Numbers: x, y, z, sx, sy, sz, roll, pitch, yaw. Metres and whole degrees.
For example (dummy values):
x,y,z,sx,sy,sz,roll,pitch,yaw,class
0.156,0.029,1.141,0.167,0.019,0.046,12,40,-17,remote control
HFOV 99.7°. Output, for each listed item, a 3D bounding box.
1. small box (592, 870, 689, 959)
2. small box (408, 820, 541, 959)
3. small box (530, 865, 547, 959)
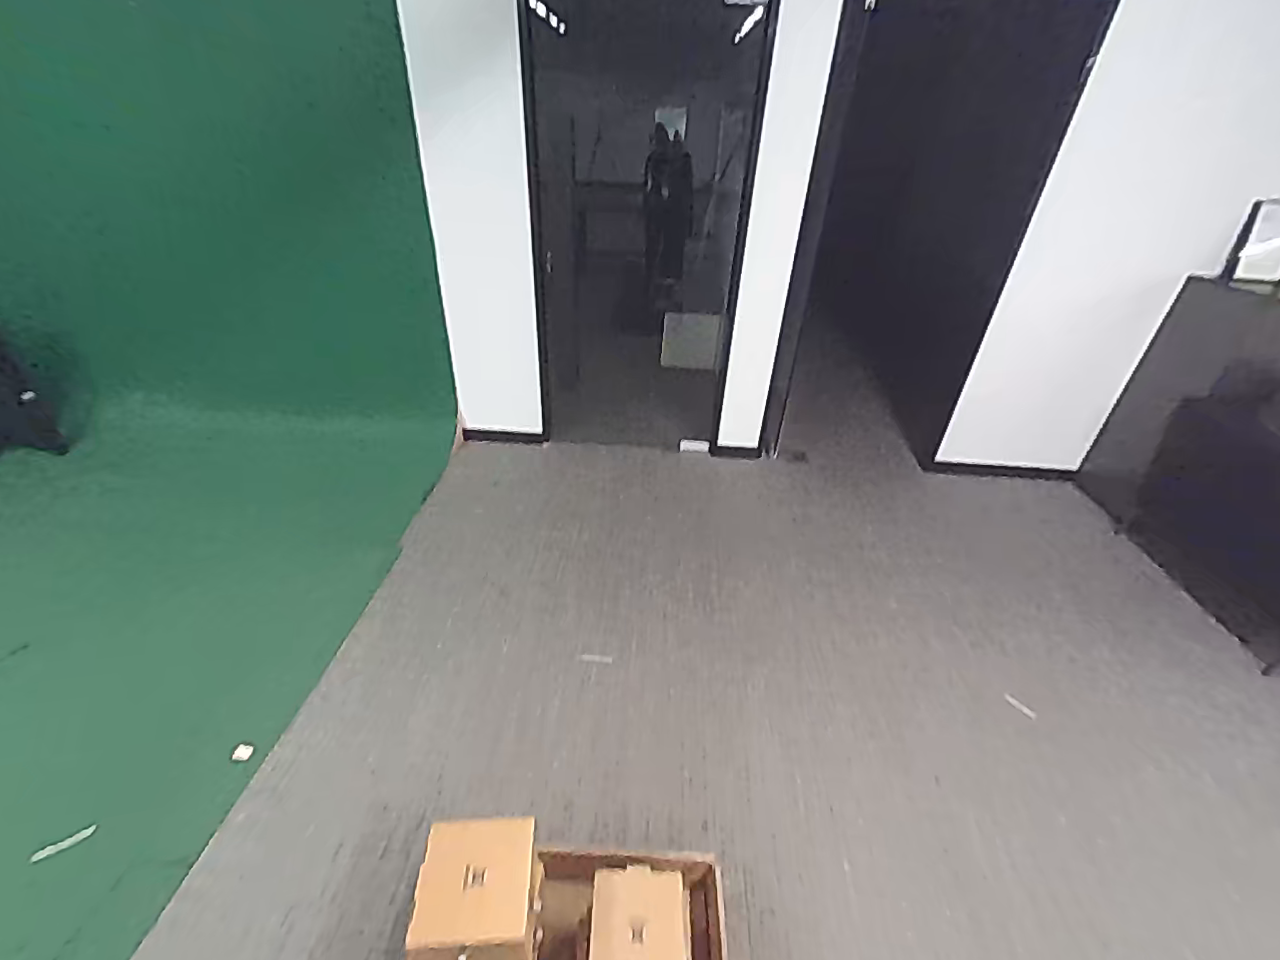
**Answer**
x,y,z,sx,sy,sz,roll,pitch,yaw,class
-0.002,0.849,0.984,0.168,0.176,0.179,2,33,0,small box
-0.260,0.695,0.901,0.179,0.176,0.168,0,35,-5,small box
-0.267,0.830,0.990,0.168,0.176,0.179,5,35,0,small box
